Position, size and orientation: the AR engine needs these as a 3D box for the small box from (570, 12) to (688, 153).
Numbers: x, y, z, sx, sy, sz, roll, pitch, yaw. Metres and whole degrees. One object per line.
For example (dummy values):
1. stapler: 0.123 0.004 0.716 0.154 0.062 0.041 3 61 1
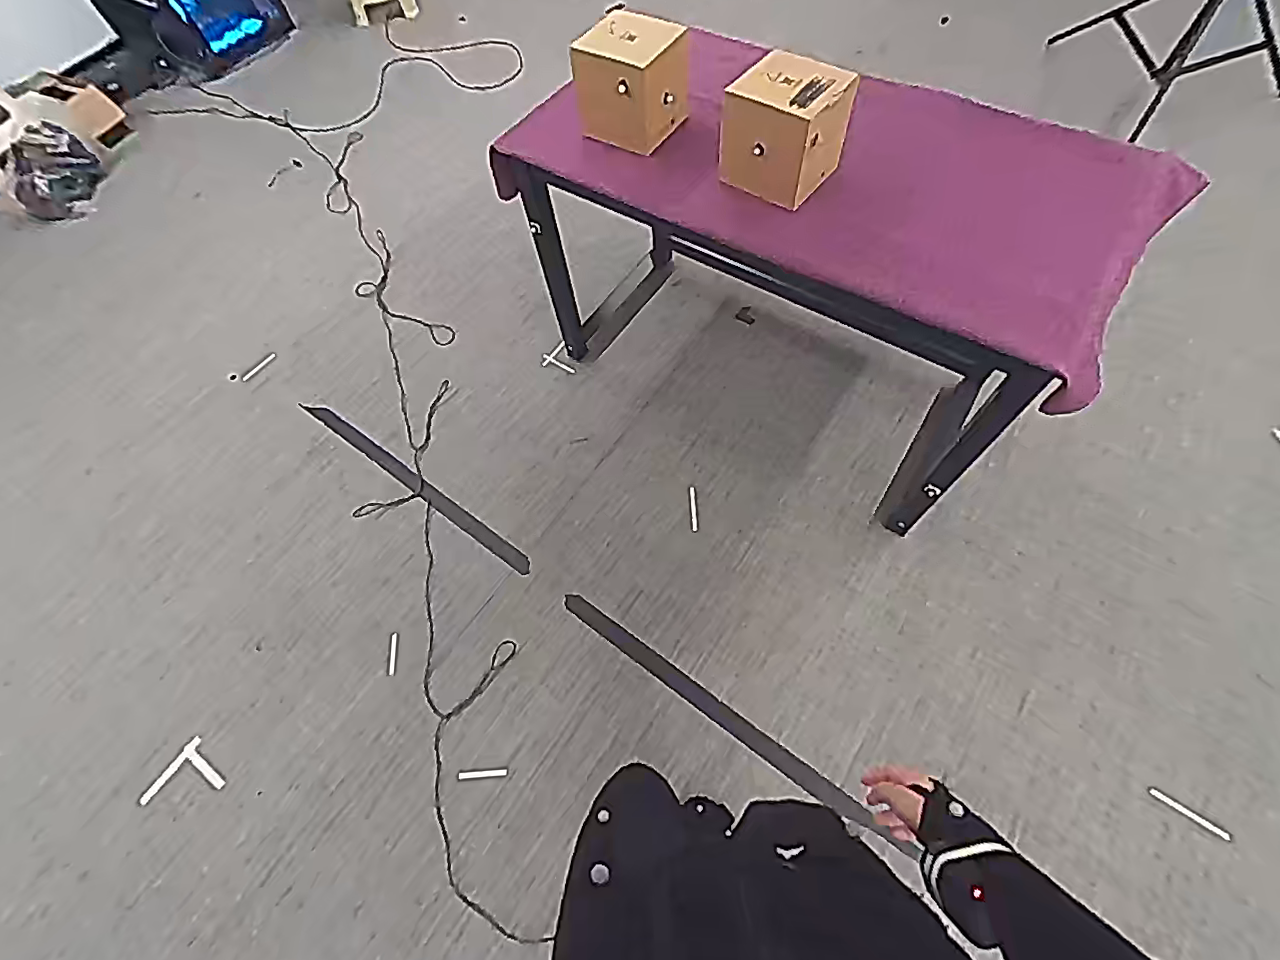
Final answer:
1. small box: -0.016 -0.812 1.114 0.179 0.176 0.168 29 67 18
